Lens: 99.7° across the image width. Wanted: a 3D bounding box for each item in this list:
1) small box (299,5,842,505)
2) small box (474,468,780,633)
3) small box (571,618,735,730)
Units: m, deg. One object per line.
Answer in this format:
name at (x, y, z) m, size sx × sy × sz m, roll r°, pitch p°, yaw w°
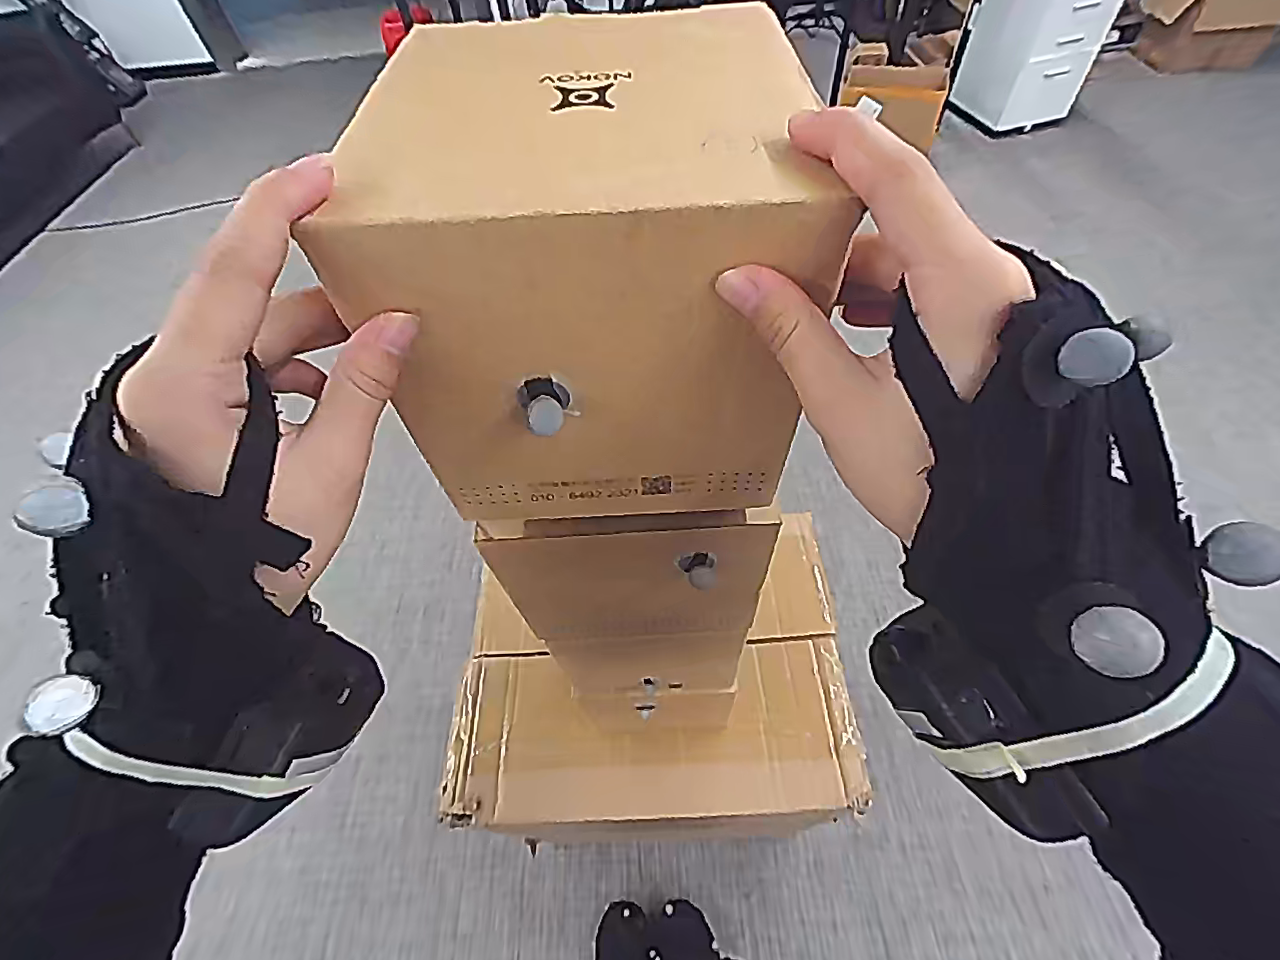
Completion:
small box at (-0.019, -0.098, 0.270) m, size 0.168 × 0.176 × 0.179 m, roll -3°, pitch 54°, yaw 1°
small box at (-0.005, 0.008, 0.413) m, size 0.179 × 0.176 × 0.168 m, roll -4°, pitch 54°, yaw 3°
small box at (0.019, 0.207, 0.675) m, size 0.179 × 0.176 × 0.168 m, roll -4°, pitch 54°, yaw 2°
